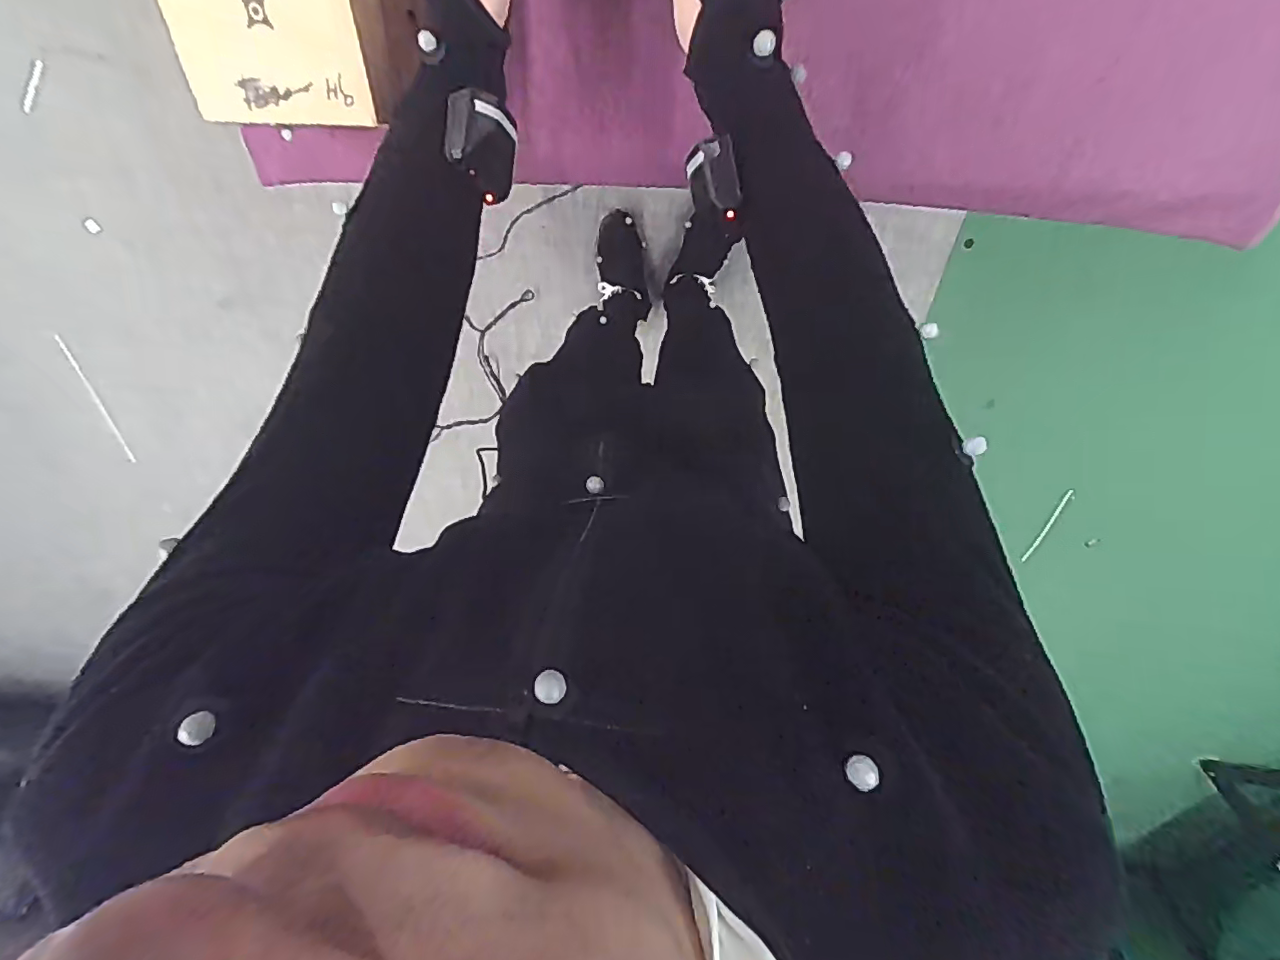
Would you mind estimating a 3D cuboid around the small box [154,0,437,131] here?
[{"bbox_3d":[-0.309,-0.434,0.503,0.168,0.176,0.179,4,125,3],"label":"small box"}]
